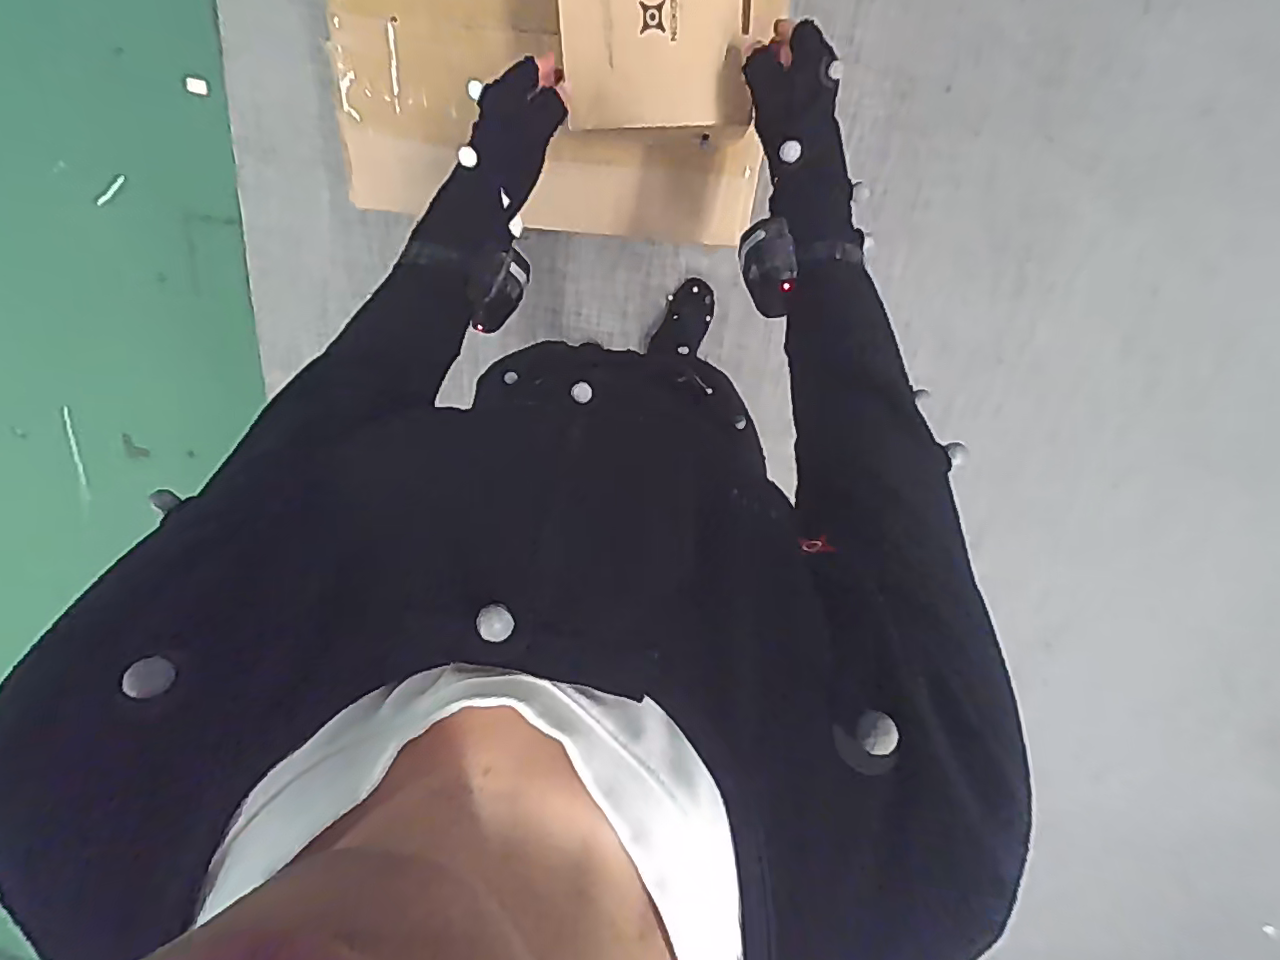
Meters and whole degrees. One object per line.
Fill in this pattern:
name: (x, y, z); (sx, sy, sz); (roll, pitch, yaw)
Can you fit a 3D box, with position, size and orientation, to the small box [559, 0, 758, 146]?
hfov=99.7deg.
small box: (0.024, -0.443, 0.544); (0.179, 0.176, 0.168); (1, 116, 8)
